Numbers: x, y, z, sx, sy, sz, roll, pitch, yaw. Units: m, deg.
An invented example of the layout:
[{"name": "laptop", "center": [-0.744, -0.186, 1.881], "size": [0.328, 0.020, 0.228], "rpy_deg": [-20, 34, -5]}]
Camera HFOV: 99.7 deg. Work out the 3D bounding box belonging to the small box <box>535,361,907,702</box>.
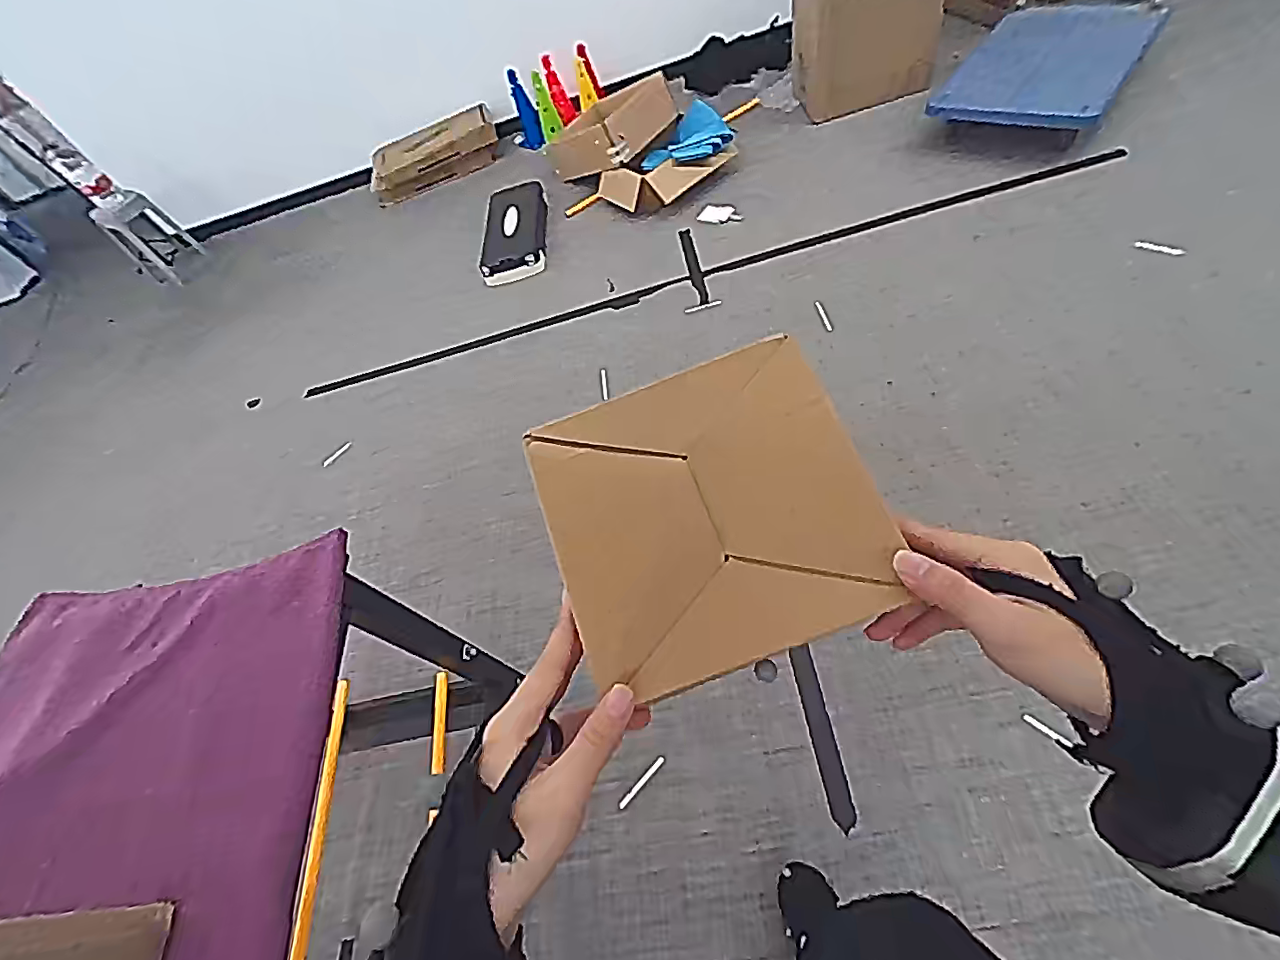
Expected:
[{"name": "small box", "center": [0.045, 0.044, 0.376], "size": [0.179, 0.176, 0.168], "rpy_deg": [-20, 69, 1]}]
